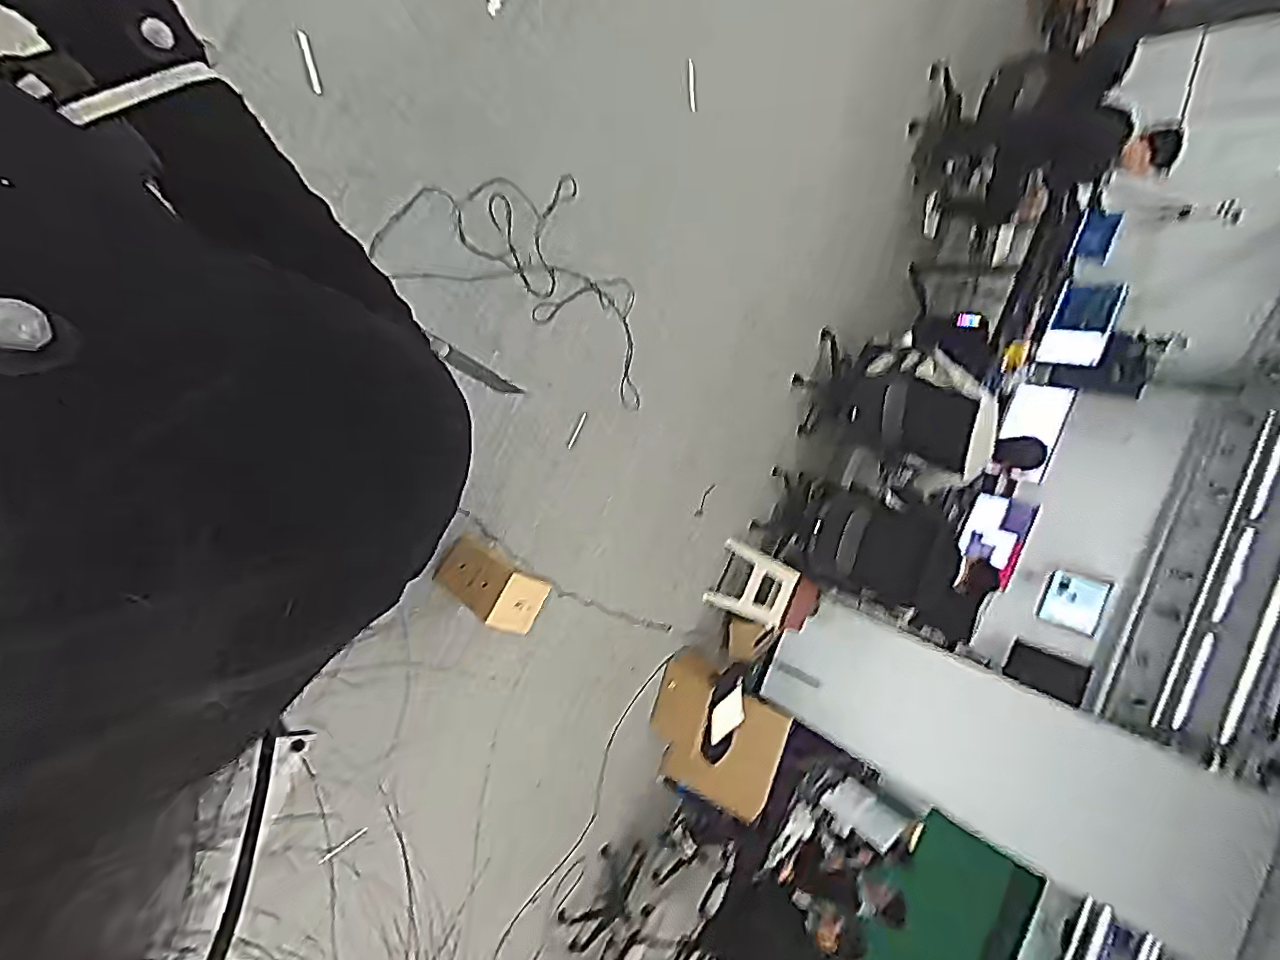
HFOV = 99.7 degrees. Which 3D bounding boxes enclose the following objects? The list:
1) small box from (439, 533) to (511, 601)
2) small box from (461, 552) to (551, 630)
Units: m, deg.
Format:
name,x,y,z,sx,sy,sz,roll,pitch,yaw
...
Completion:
name,x,y,z,sx,sy,sz,roll,pitch,yaw
small box,-0.532,0.302,1.781,0.168,0.176,0.179,41,74,-49
small box,-0.417,0.339,1.669,0.179,0.176,0.168,36,80,-50
